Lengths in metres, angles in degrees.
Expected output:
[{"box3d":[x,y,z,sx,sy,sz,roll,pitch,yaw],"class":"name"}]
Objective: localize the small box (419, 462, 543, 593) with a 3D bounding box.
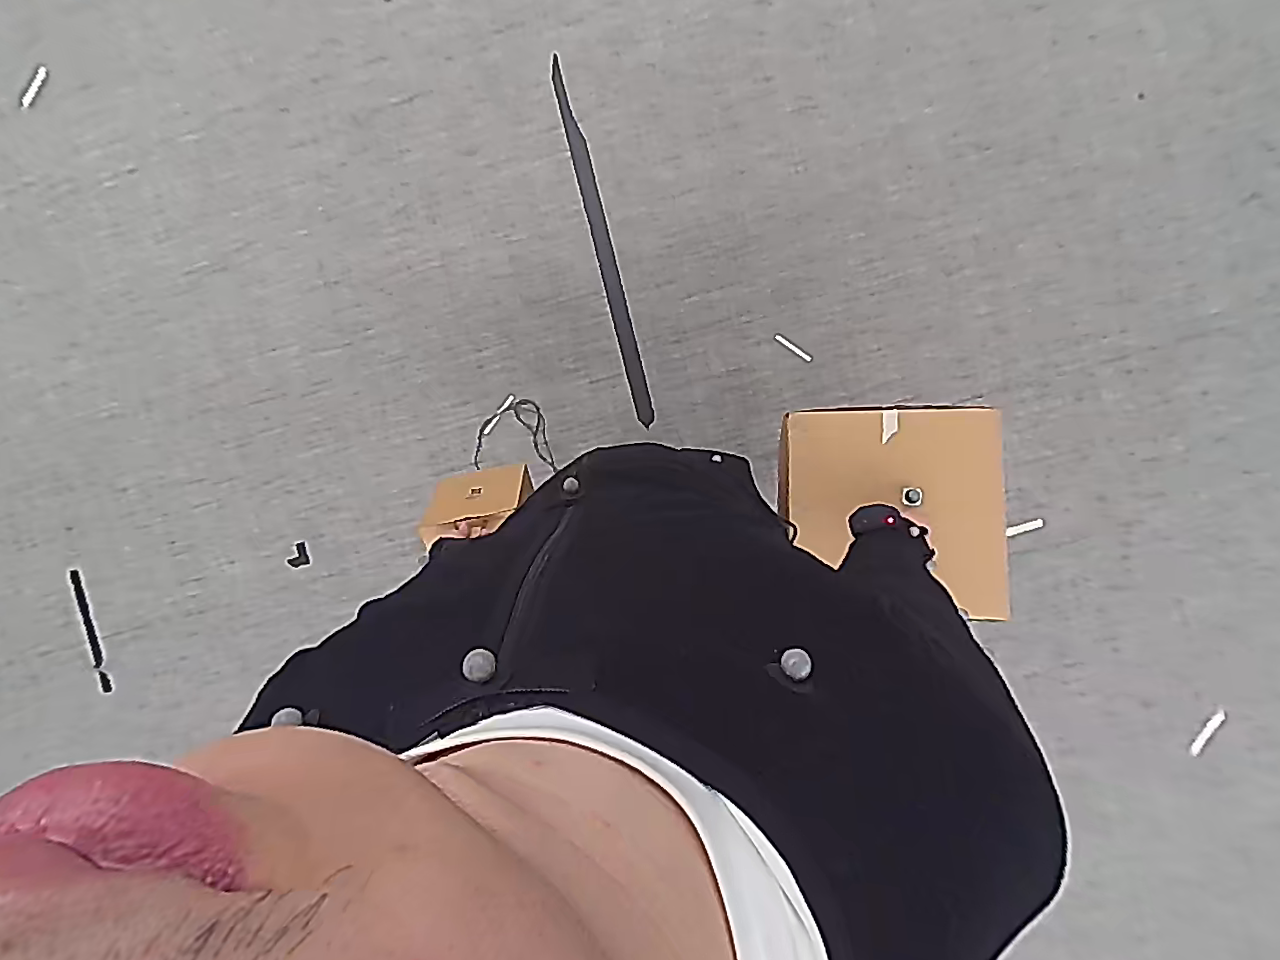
[{"box3d":[-0.281,0.091,1.002,0.168,0.179,0.176,-11,120,-1],"class":"small box"}]
